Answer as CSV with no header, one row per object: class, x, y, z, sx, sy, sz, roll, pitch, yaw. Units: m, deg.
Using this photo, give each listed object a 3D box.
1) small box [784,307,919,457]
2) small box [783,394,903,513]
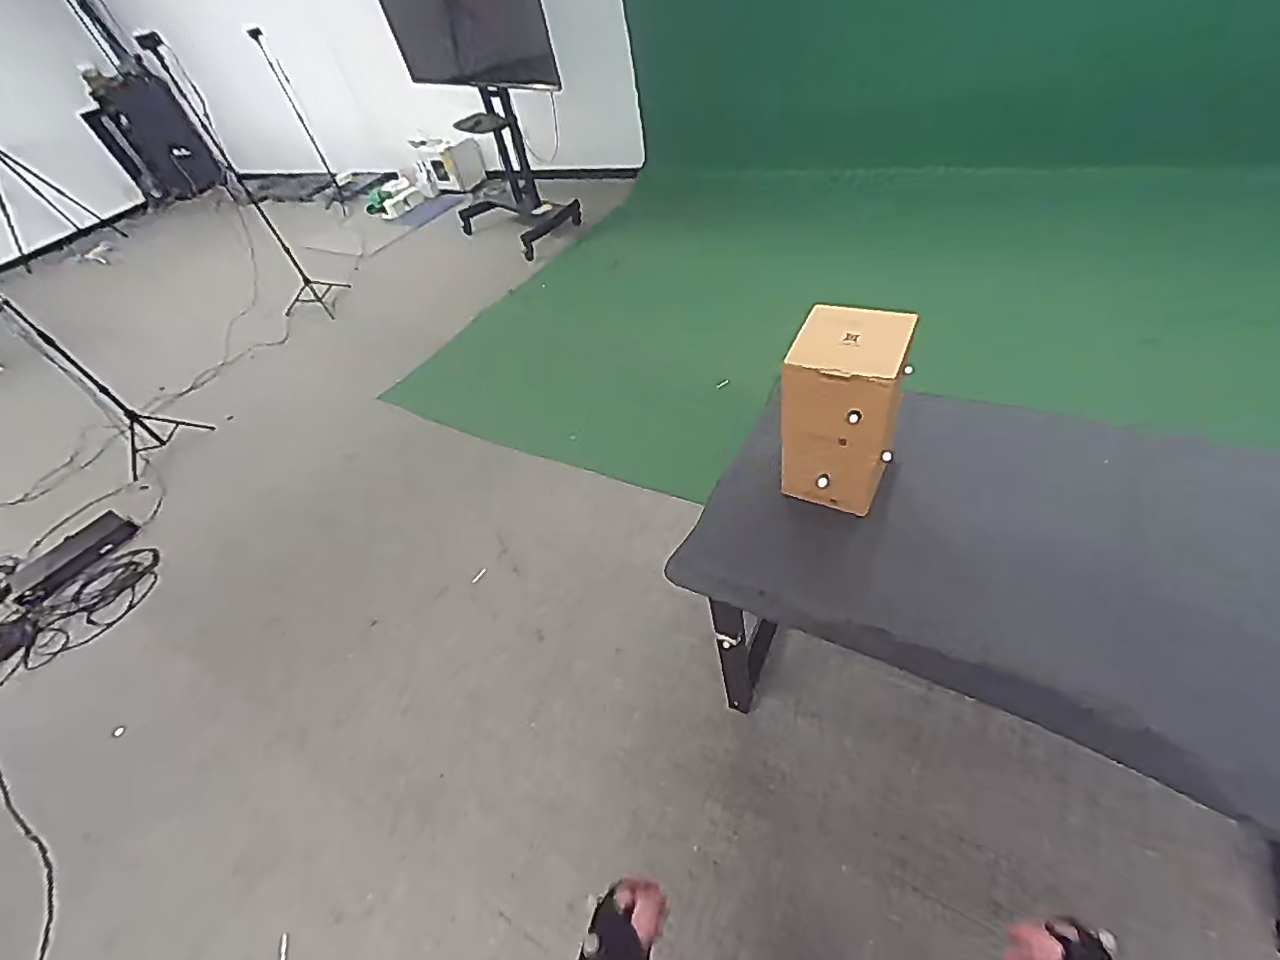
small box,0.349,-0.164,0.909,0.168,0.176,0.179,16,53,25
small box,0.384,-0.064,1.034,0.168,0.176,0.179,18,54,27
